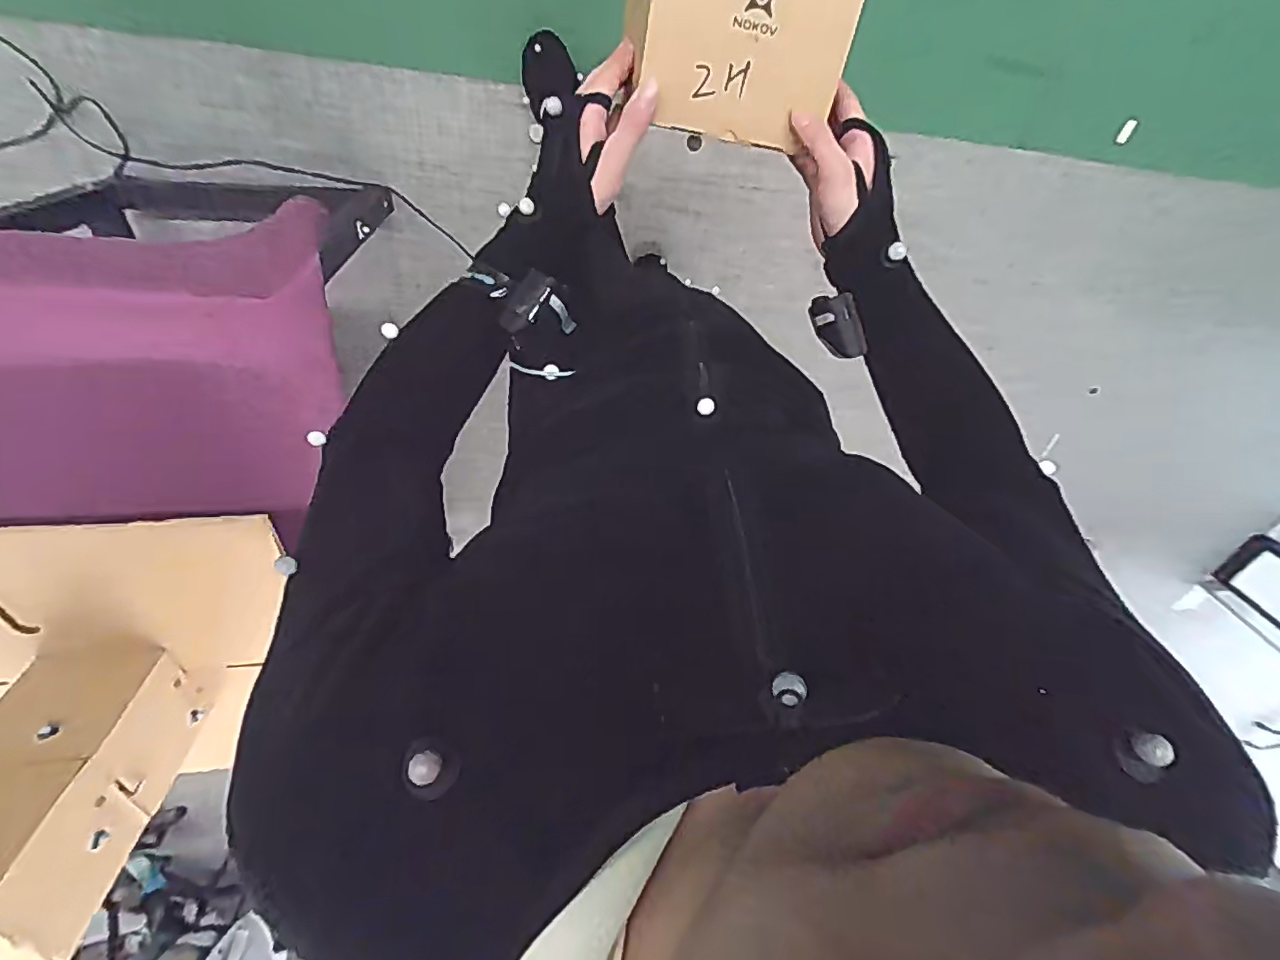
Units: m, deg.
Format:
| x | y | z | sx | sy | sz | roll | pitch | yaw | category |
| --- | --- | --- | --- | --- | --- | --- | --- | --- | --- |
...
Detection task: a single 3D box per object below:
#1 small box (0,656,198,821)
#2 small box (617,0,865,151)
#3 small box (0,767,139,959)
| x | y | z | sx | sy | sz | roll | pitch | yaw | category |
| --- | --- | --- | --- | --- | --- | --- | --- | --- | --- |
| -0.778 | 0.367 | 0.765 | 0.179 | 0.176 | 0.168 | -2 | 126 | -7 | small box |
| 0.078 | -0.408 | 0.470 | 0.168 | 0.176 | 0.179 | 4 | 125 | -13 | small box |
| -0.766 | 0.464 | 0.635 | 0.179 | 0.176 | 0.168 | -3 | 126 | -7 | small box |
